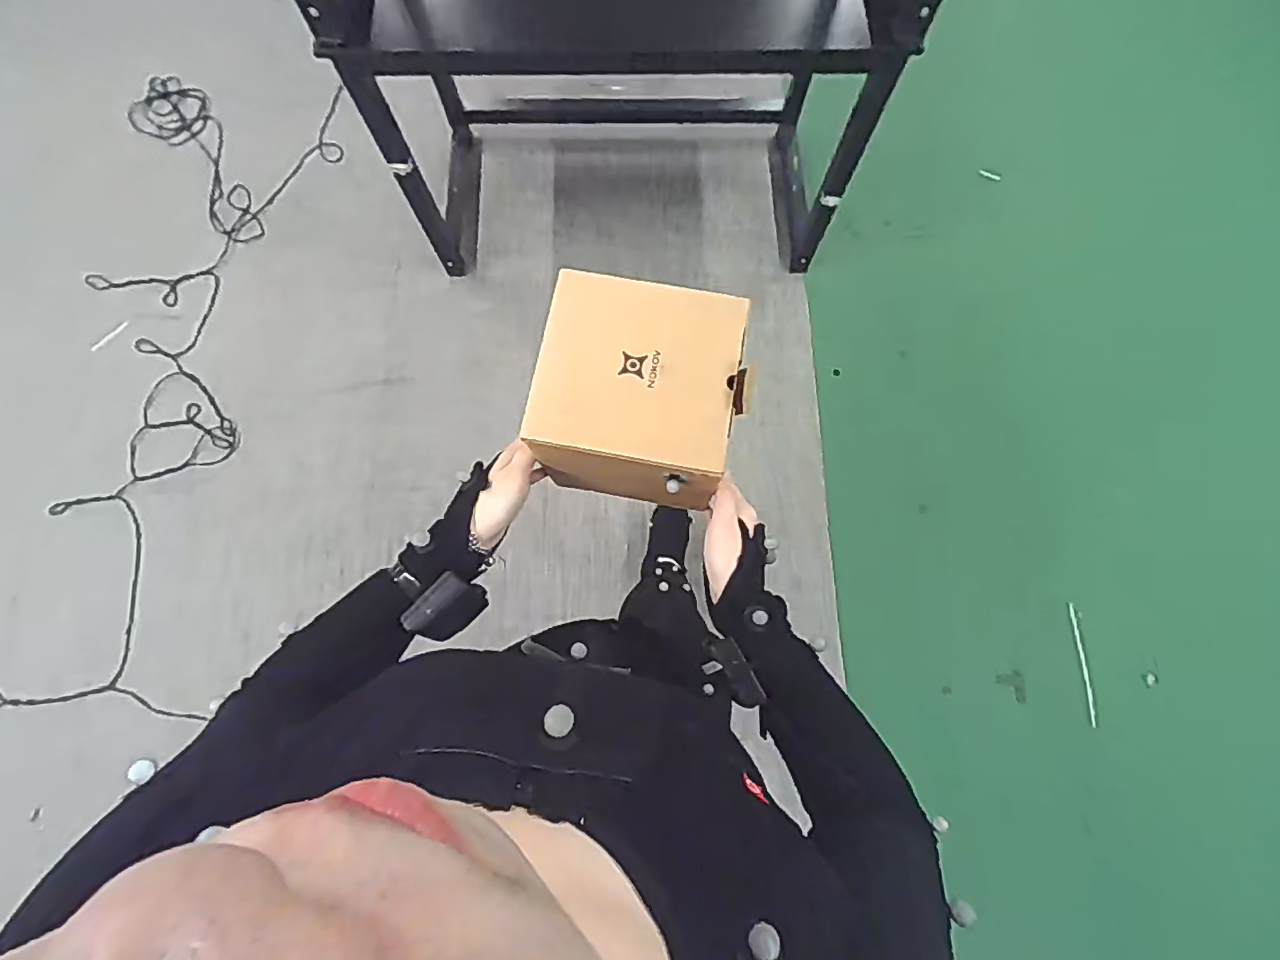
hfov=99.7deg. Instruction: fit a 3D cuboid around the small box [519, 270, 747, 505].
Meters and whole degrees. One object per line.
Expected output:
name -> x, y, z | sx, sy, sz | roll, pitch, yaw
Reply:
small box -> -0.002, -0.080, 0.544 | 0.179, 0.176, 0.168 | 10, 76, 2
